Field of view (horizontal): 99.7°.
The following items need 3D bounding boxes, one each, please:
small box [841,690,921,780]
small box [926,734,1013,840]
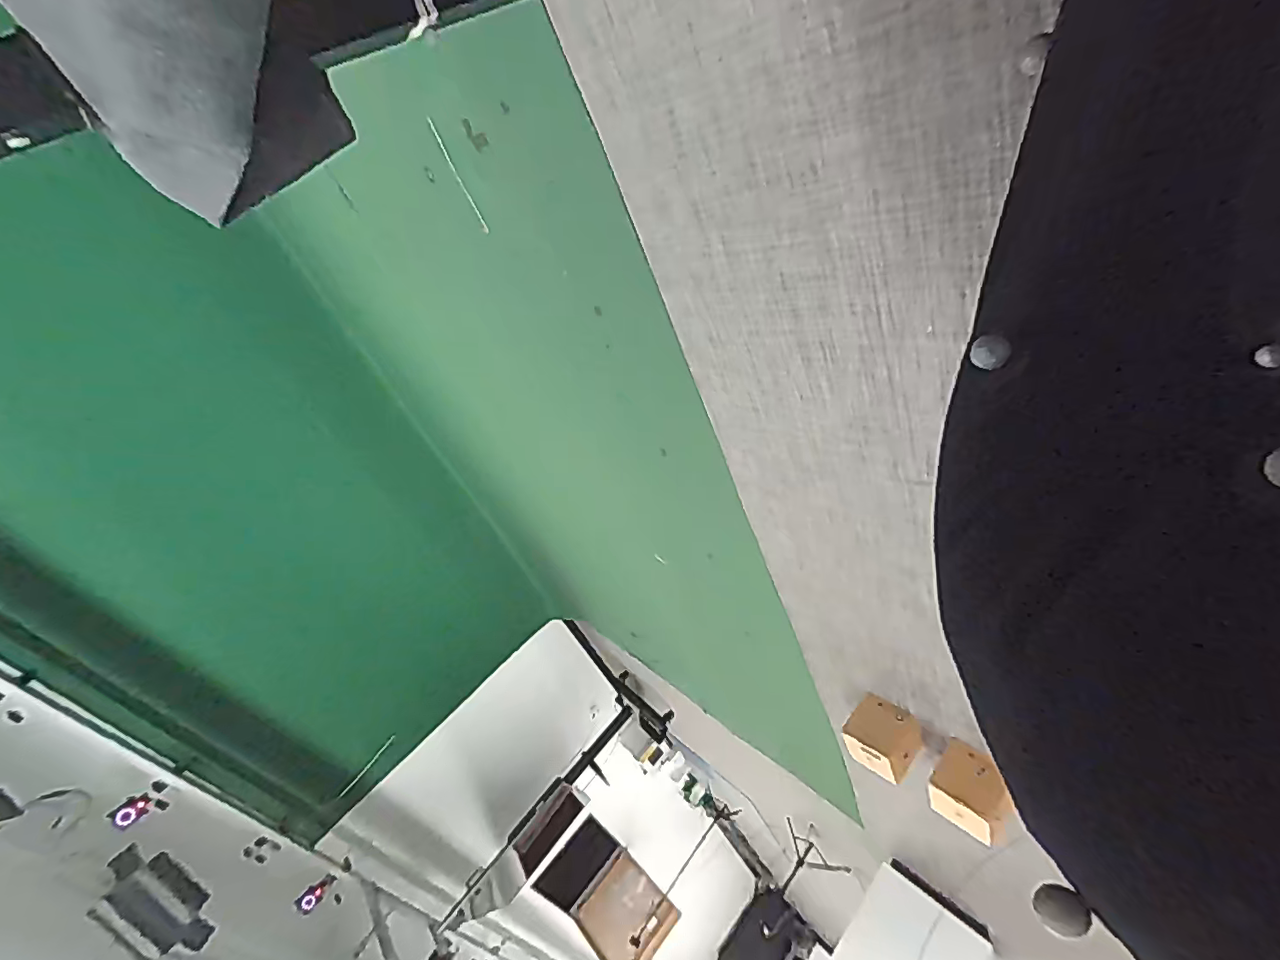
[{"bbox_3d":[0.793,0.828,1.774,0.168,0.176,0.179,17,143,51],"label":"small box"},{"bbox_3d":[0.959,0.885,1.570,0.168,0.176,0.179,21,144,49],"label":"small box"}]
